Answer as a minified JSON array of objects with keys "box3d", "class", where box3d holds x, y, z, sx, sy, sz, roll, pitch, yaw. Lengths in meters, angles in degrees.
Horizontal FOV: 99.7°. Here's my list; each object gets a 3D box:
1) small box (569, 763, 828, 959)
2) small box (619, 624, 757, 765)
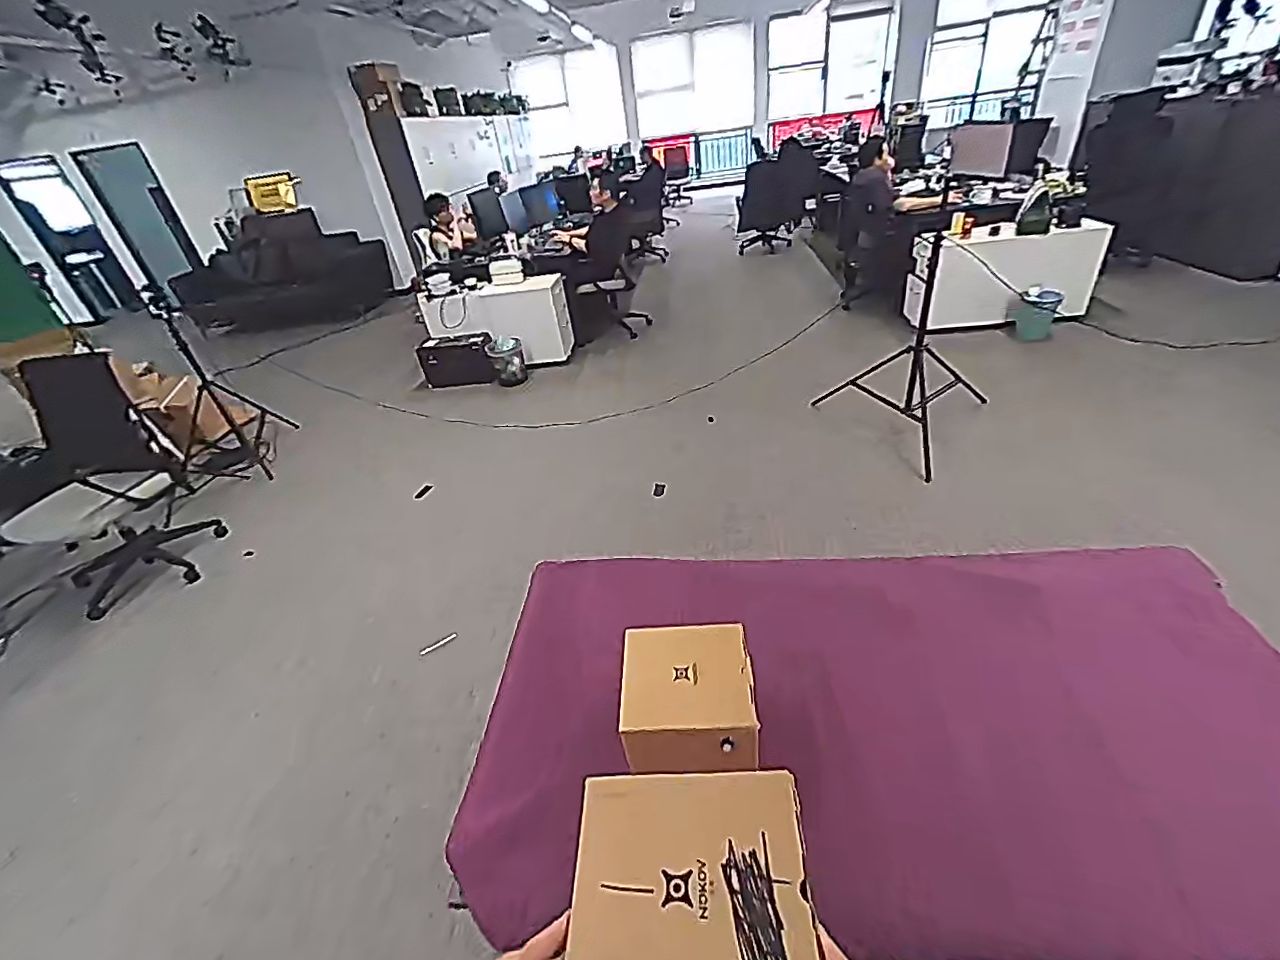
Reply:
[{"box3d":[0.051,0.356,0.445,0.179,0.176,0.168,-6,36,8],"class":"small box"},{"box3d":[0.073,0.333,0.785,0.179,0.176,0.168,-5,33,5],"class":"small box"}]
